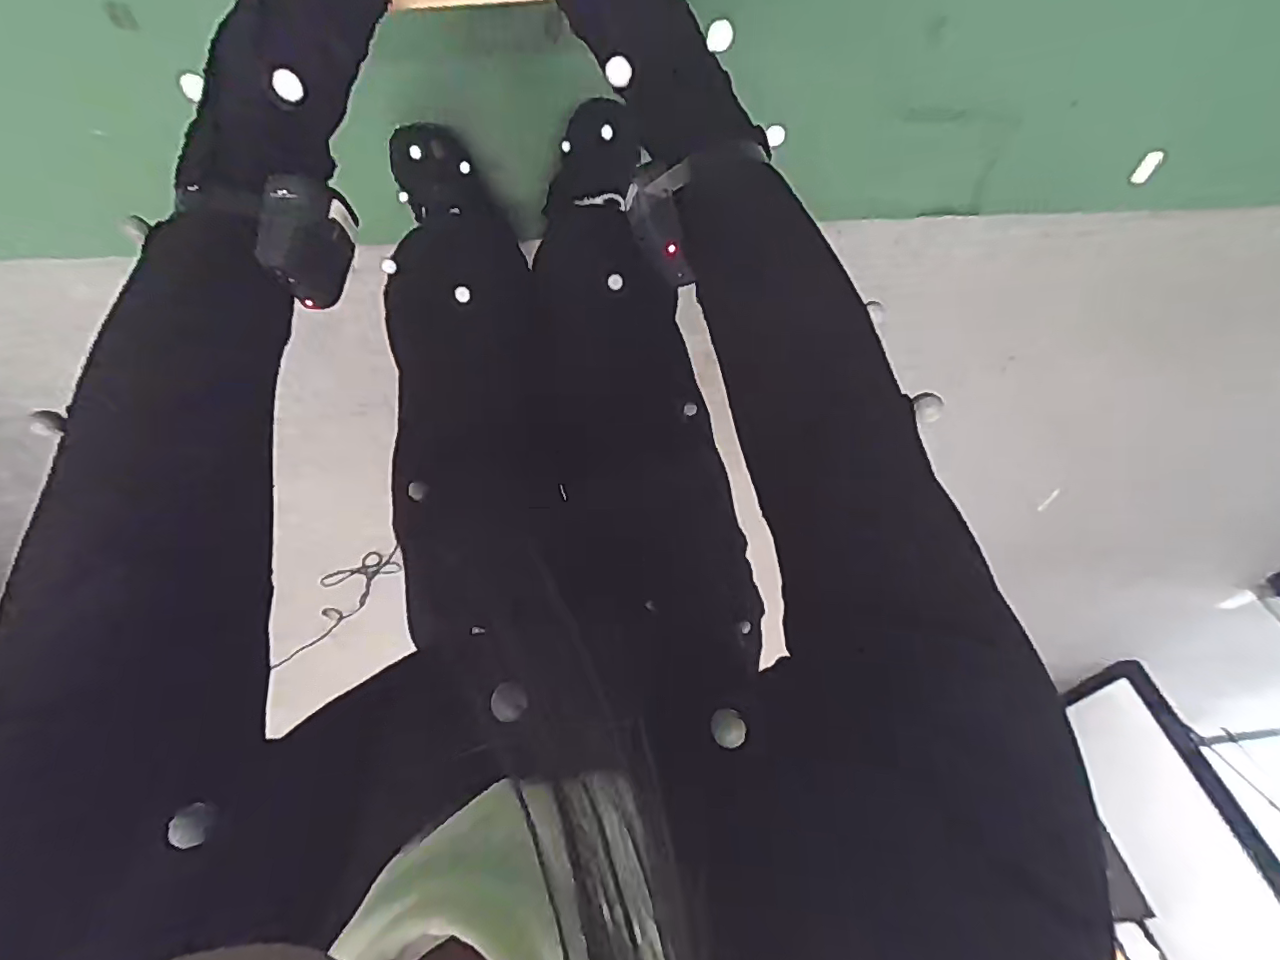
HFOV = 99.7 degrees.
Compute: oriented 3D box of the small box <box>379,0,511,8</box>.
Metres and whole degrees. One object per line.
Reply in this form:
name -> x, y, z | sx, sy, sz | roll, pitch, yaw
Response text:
small box -> -0.123, -0.466, 0.383 | 0.168, 0.176, 0.179 | -8, 139, -4
